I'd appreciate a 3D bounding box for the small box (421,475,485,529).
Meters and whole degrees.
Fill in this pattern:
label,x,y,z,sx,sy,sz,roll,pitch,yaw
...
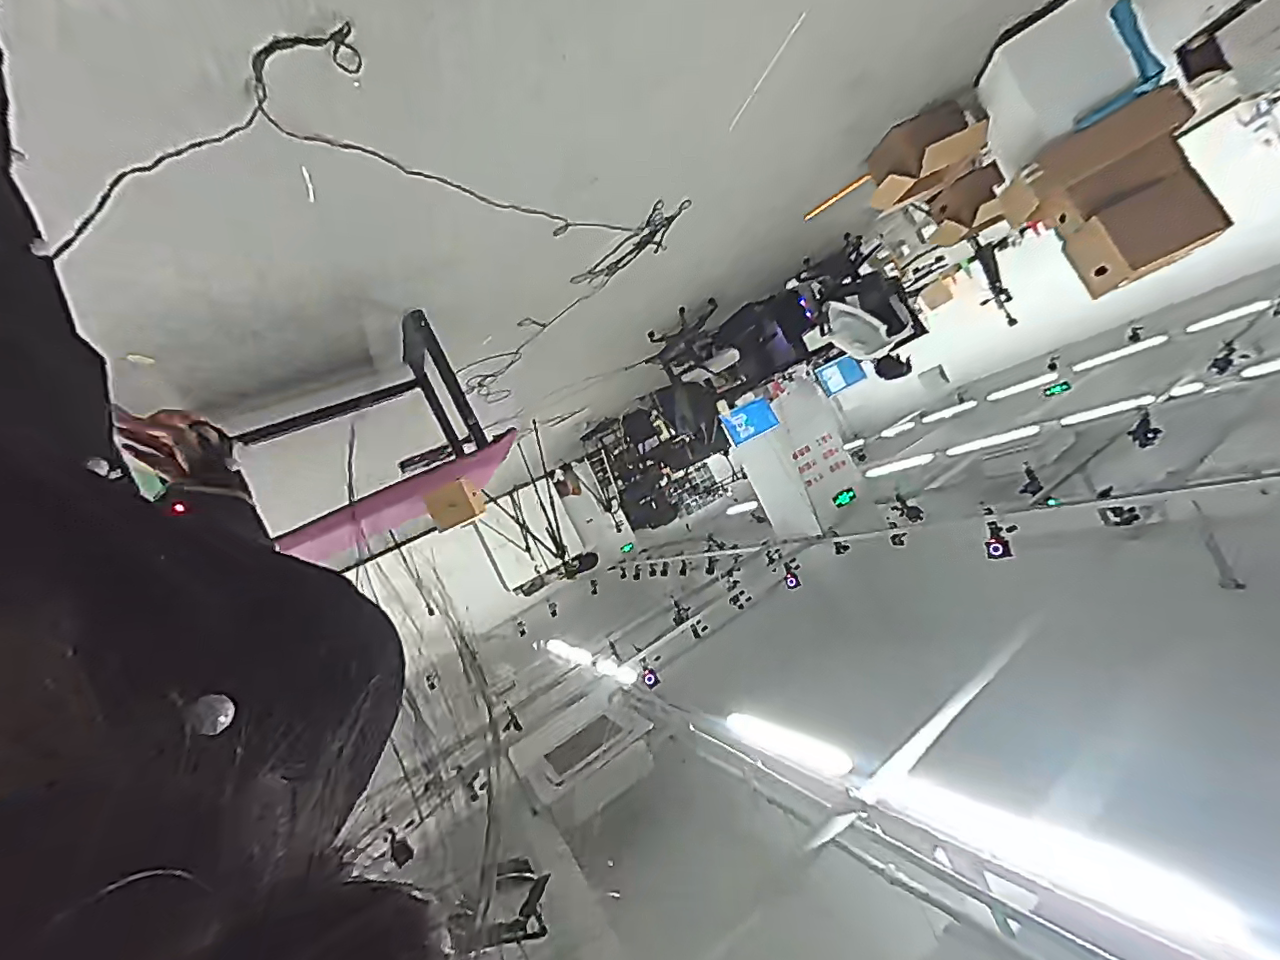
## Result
label,x,y,z,sx,sy,sz,roll,pitch,yaw
small box,-0.781,0.086,2.261,0.179,0.176,0.168,-27,-179,-2
